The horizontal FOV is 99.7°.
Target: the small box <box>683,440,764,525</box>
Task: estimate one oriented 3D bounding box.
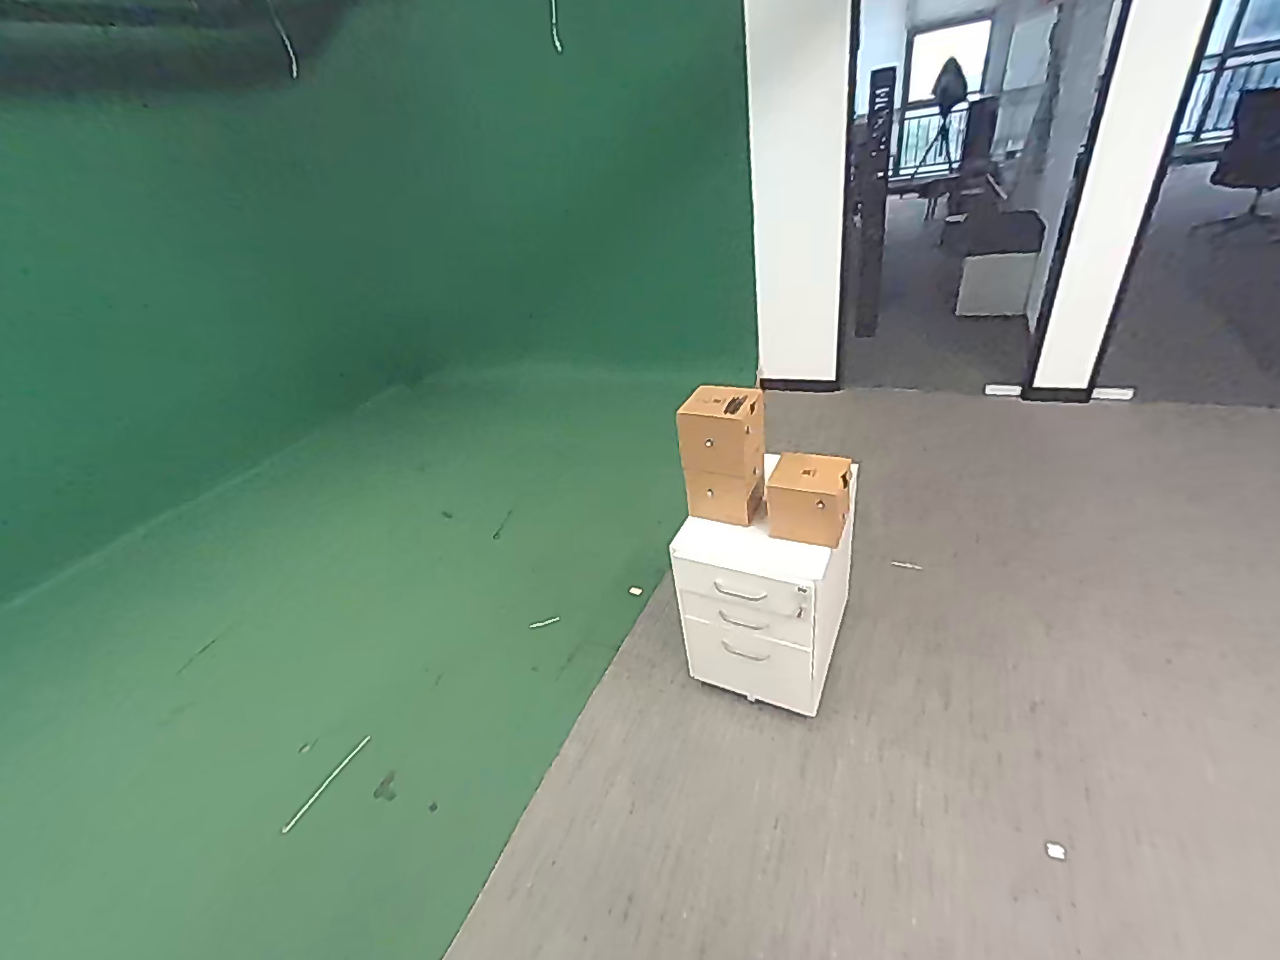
[{"bbox_3d":[0.236,0.007,1.503,0.179,0.176,0.168,9,38,27],"label":"small box"}]
